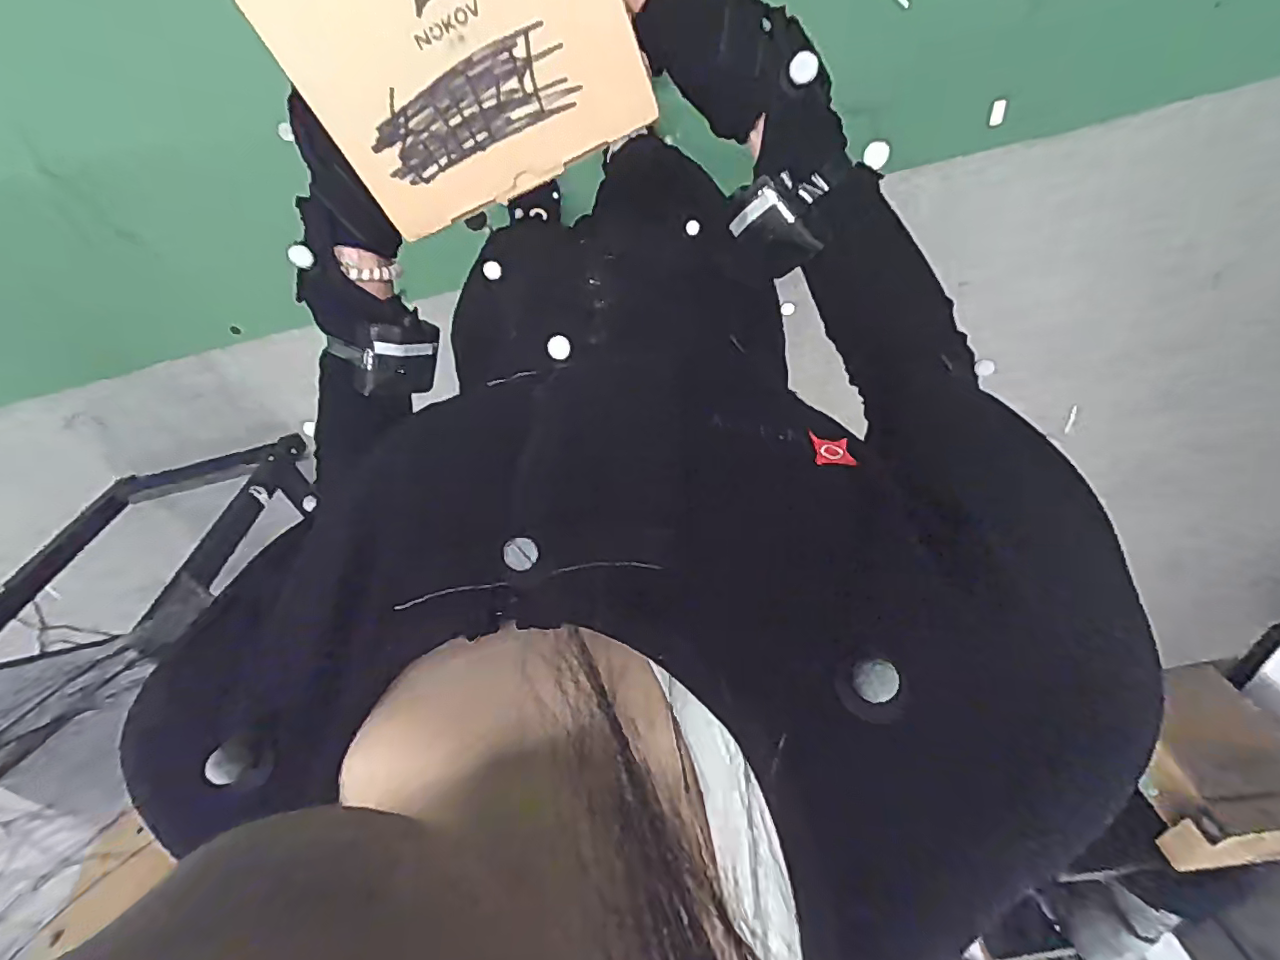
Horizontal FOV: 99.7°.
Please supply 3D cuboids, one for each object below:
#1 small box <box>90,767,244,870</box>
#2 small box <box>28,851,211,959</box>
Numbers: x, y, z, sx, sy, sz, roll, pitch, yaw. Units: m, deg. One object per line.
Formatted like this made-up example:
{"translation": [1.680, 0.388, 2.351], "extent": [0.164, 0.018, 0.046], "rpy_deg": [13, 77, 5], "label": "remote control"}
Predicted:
{"translation": [-1.049, 0.774, 1.225], "extent": [0.179, 0.176, 0.168], "rpy_deg": [-13, 128, 6], "label": "small box"}
{"translation": [-1.047, 0.889, 1.107], "extent": [0.179, 0.176, 0.168], "rpy_deg": [-16, 129, 5], "label": "small box"}
